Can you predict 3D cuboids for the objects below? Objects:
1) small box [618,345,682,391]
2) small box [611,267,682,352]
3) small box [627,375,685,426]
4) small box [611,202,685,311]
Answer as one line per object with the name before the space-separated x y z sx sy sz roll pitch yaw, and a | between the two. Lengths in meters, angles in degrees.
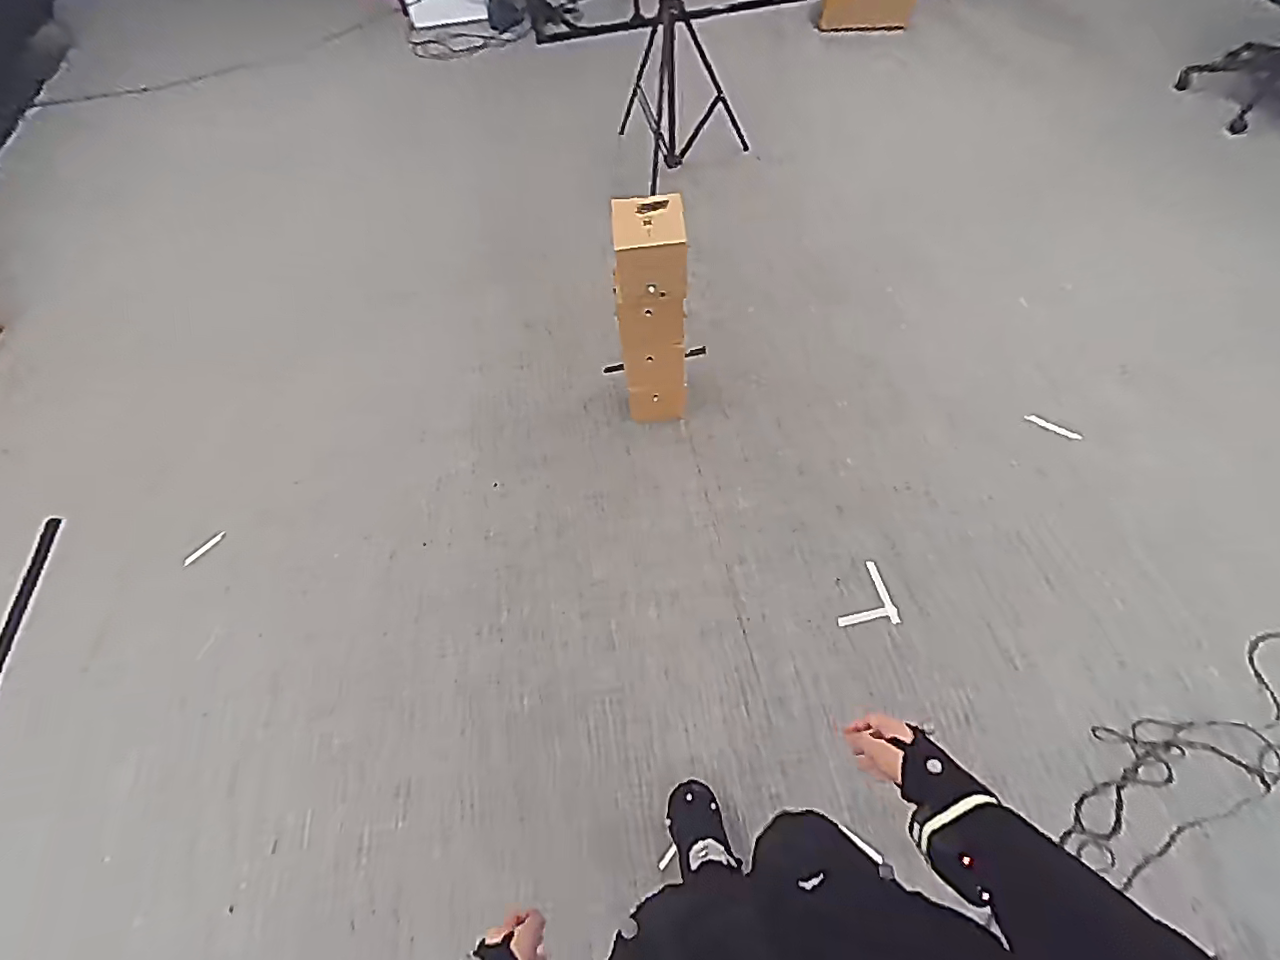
small box | 0.034 -0.377 1.596 0.179 0.176 0.168 -2 62 4
small box | 0.021 -0.462 1.459 0.179 0.176 0.168 -4 62 2
small box | 0.048 -0.290 1.735 0.179 0.176 0.168 -5 61 2
small box | 0.021 -0.540 1.314 0.168 0.176 0.179 -5 62 3
